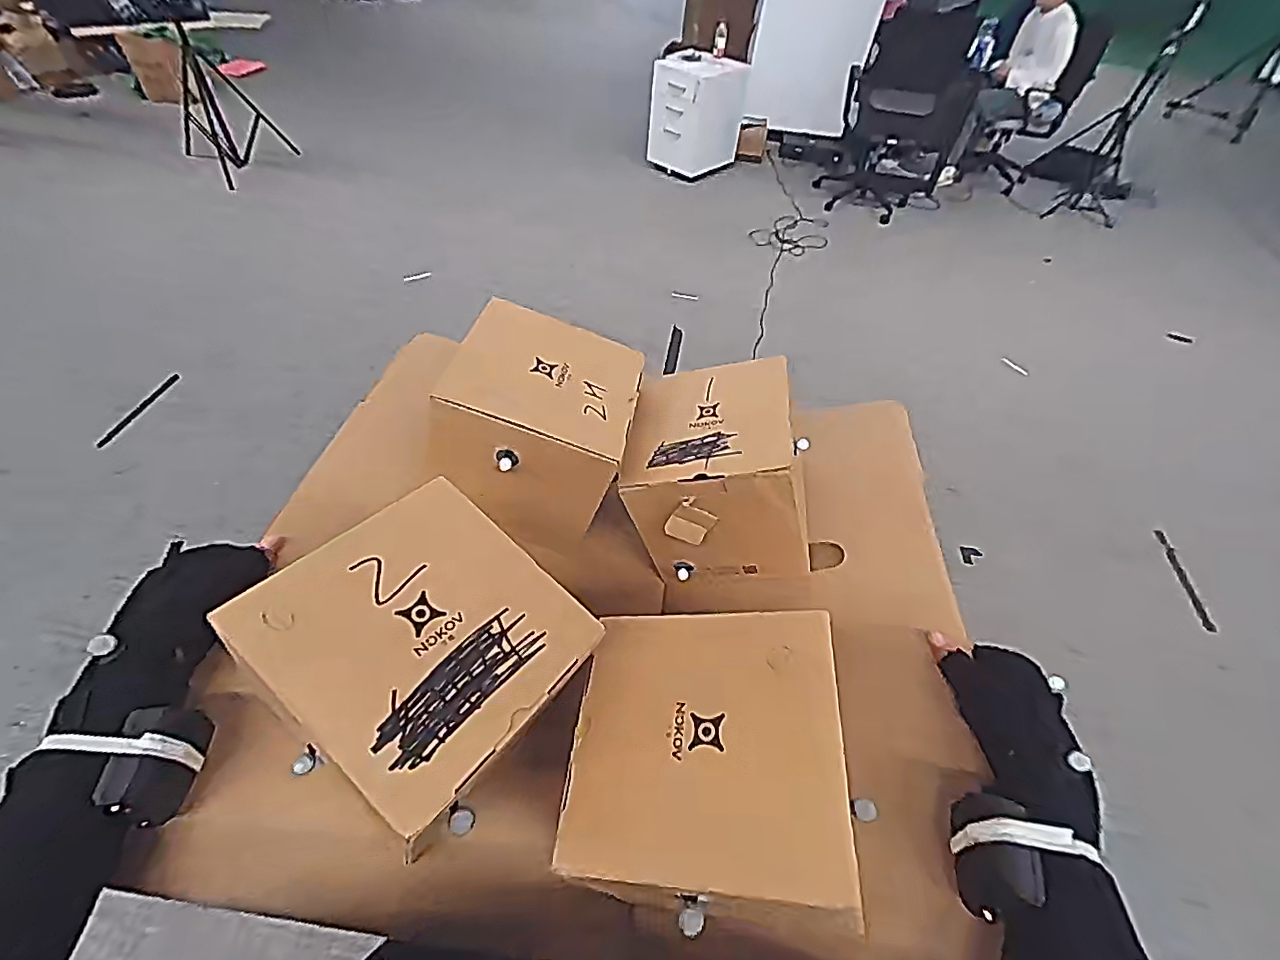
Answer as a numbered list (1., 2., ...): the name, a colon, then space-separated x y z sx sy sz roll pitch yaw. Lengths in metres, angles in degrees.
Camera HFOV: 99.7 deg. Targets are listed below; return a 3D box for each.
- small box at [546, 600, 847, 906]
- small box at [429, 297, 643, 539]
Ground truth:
1. small box: 0.058 0.206 0.412 0.179 0.176 0.168 -7 46 19
2. small box: -0.115 -0.060 0.589 0.179 0.176 0.168 20 48 -9
